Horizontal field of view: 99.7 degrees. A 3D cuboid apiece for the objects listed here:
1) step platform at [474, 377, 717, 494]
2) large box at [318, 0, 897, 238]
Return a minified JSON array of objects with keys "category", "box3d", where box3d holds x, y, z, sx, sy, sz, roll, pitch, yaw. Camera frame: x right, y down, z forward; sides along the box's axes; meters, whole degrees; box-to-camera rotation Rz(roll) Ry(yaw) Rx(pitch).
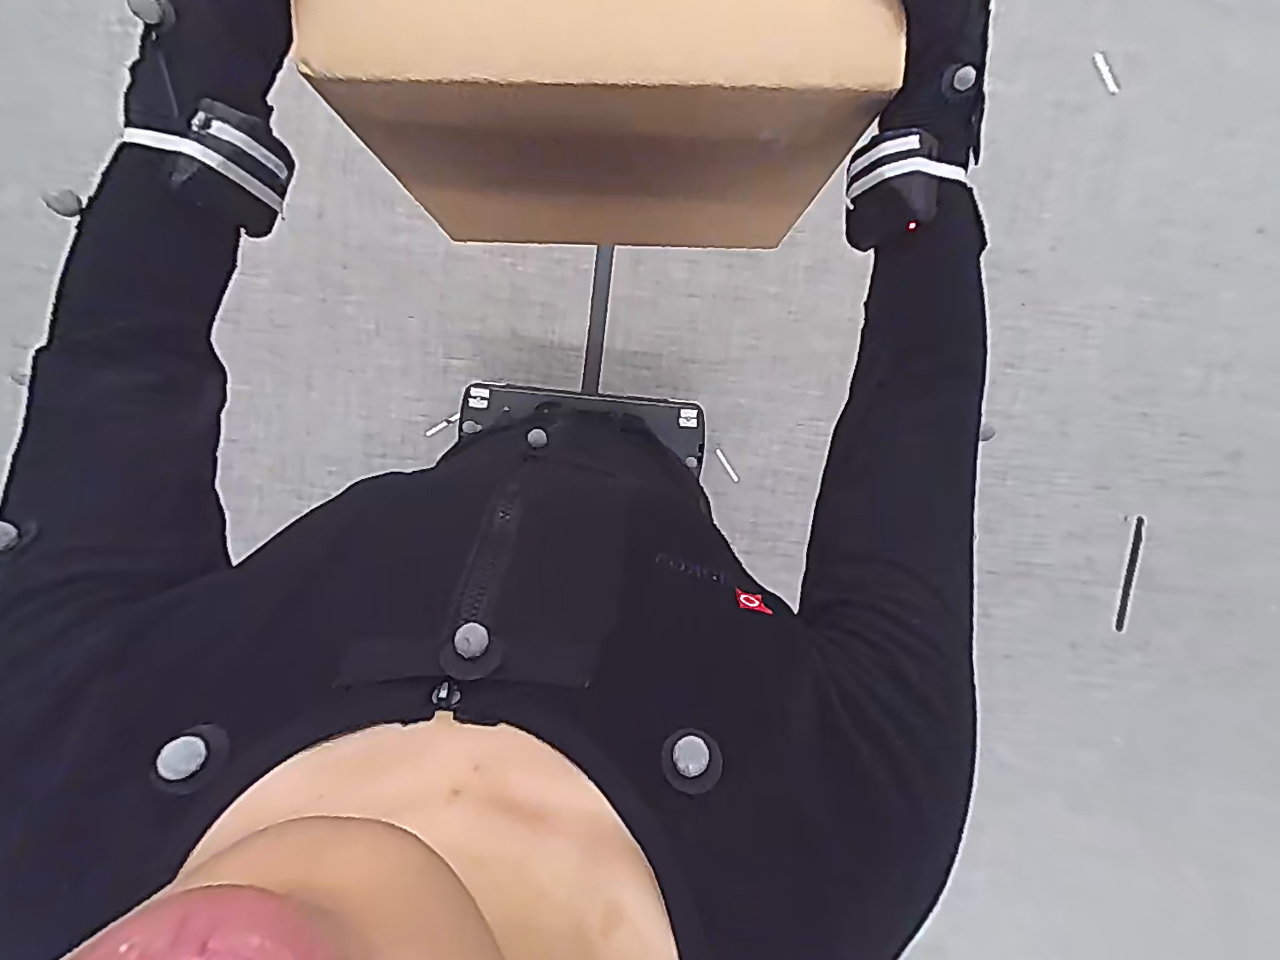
[{"category":"step platform","box3d":[-0.124,-0.127,1.559,0.684,0.204,0.286,4,98,-4]},{"category":"large box","box3d":[-0.025,-0.440,0.510,0.408,0.320,0.320,1,95,-2]}]
